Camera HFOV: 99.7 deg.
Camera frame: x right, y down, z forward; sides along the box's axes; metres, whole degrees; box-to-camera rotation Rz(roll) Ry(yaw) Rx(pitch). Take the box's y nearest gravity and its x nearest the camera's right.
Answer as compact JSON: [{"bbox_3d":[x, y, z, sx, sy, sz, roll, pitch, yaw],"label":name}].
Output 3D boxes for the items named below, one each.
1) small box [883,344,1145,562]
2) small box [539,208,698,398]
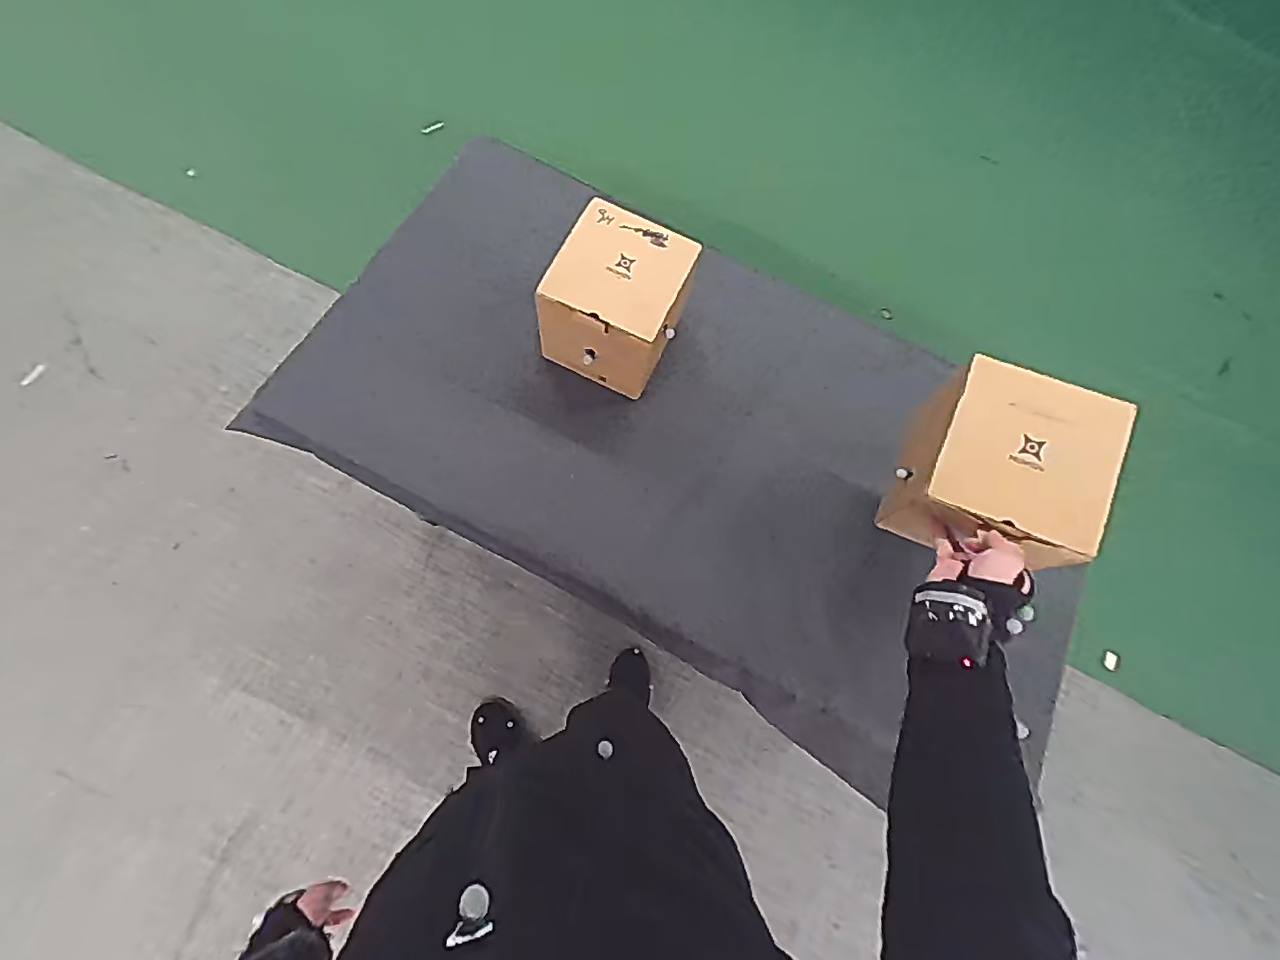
[{"bbox_3d":[0.406,-0.018,0.620,0.168,0.176,0.179,24,79,9],"label":"small box"},{"bbox_3d":[-0.030,-0.247,0.794,0.168,0.176,0.179,22,71,2],"label":"small box"}]
